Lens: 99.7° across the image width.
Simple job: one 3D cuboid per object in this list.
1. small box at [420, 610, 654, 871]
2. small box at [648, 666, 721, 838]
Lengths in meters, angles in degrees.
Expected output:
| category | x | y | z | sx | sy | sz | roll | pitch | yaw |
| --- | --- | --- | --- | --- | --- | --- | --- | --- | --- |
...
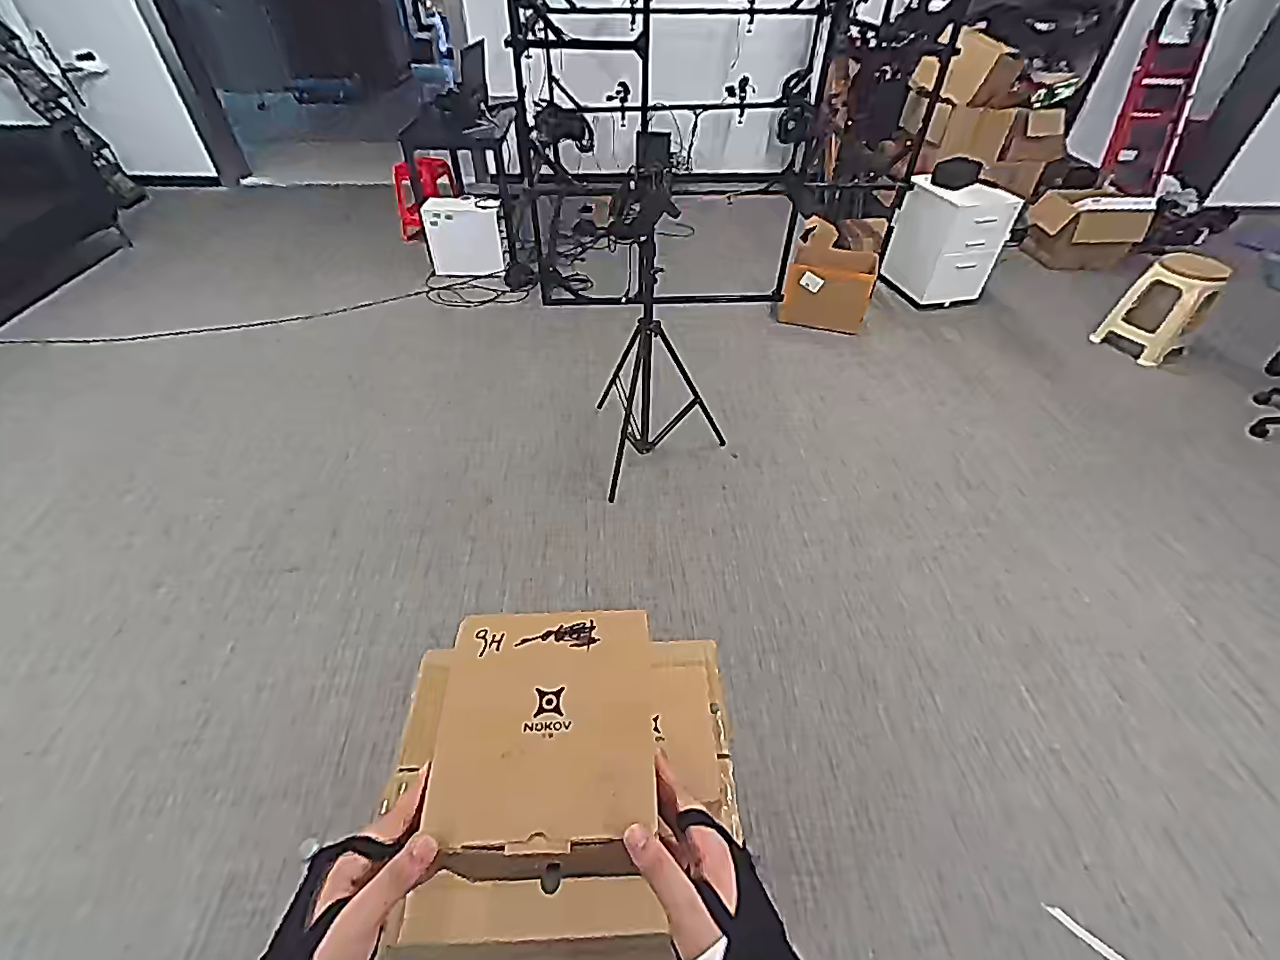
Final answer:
| category | x | y | z | sx | sy | sz | roll | pitch | yaw |
| --- | --- | --- | --- | --- | --- | --- | --- | --- | --- |
| small box | -0.073 | 0.236 | 0.483 | 0.168 | 0.176 | 0.179 | -2 | 49 | -2 |
| small box | 0.013 | 0.384 | 0.762 | 0.168 | 0.176 | 0.179 | -2 | 45 | -2 |
